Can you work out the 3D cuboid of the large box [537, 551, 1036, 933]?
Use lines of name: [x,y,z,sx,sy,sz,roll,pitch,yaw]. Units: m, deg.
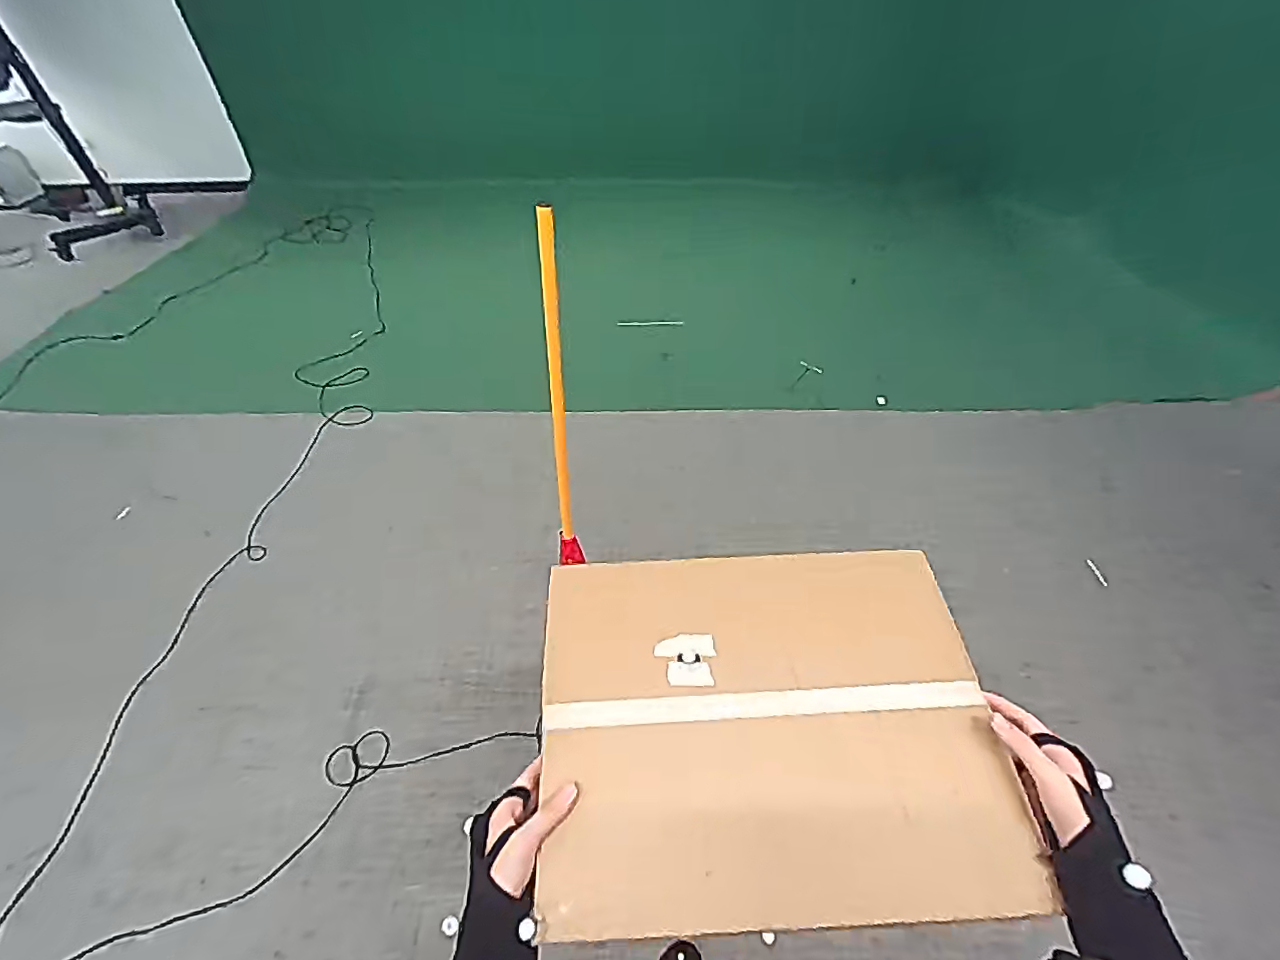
large box: [0.114,0.301,0.629,0.408,0.320,0.320,-3,53,0]
